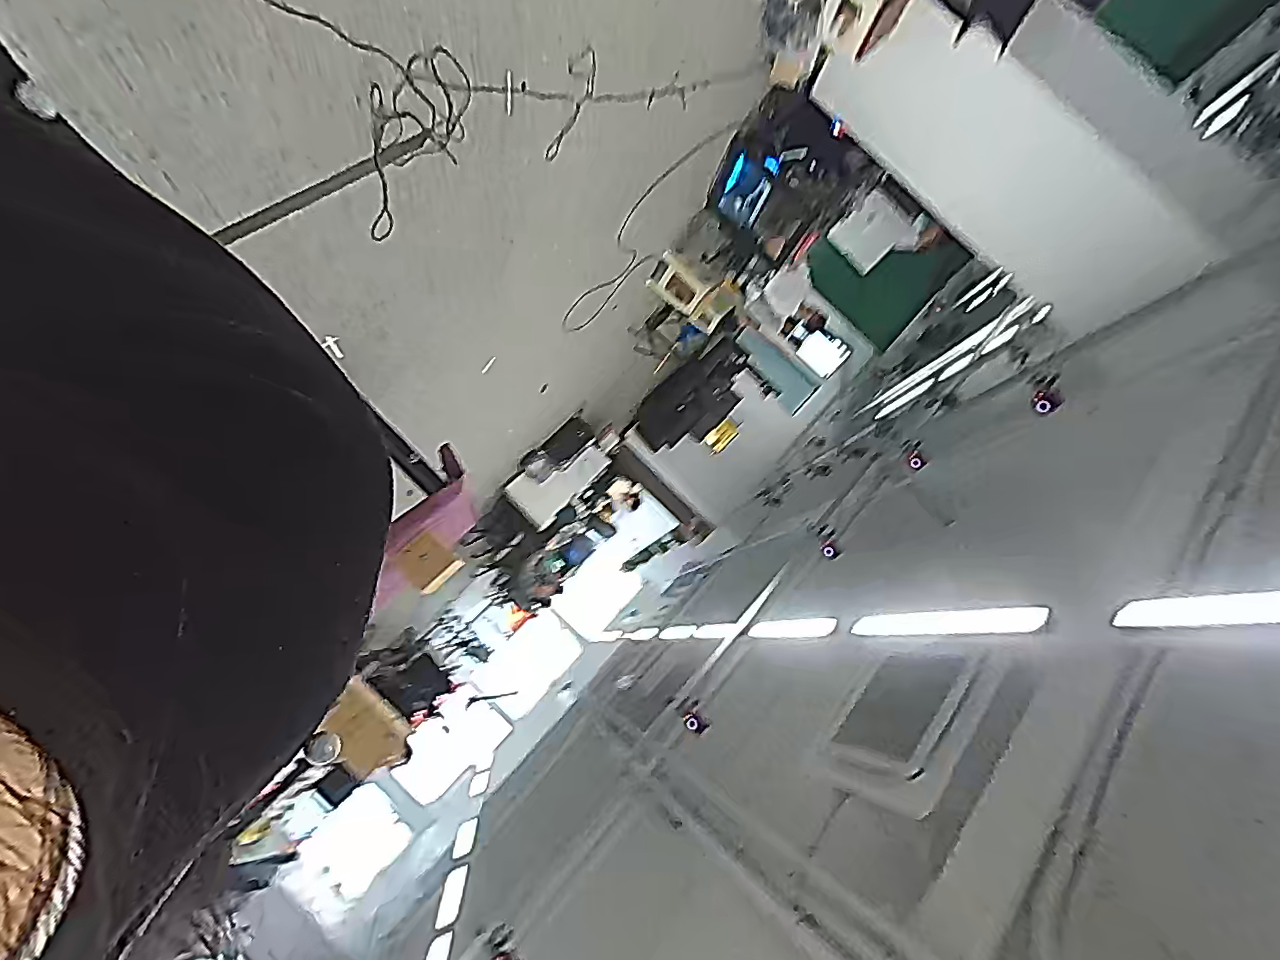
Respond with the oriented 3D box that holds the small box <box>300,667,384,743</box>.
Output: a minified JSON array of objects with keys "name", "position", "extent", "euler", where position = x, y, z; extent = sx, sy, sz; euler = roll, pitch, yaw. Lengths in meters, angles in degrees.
[{"name":"small box","position":[-1.014,0.758,1.842],"extent":[0.168,0.176,0.179],"euler":[-45,178,-22]}]

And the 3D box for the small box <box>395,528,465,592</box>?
[{"name":"small box","position":[-0.779,0.296,2.005],"extent":[0.168,0.176,0.179],"euler":[-44,178,-17]}]
